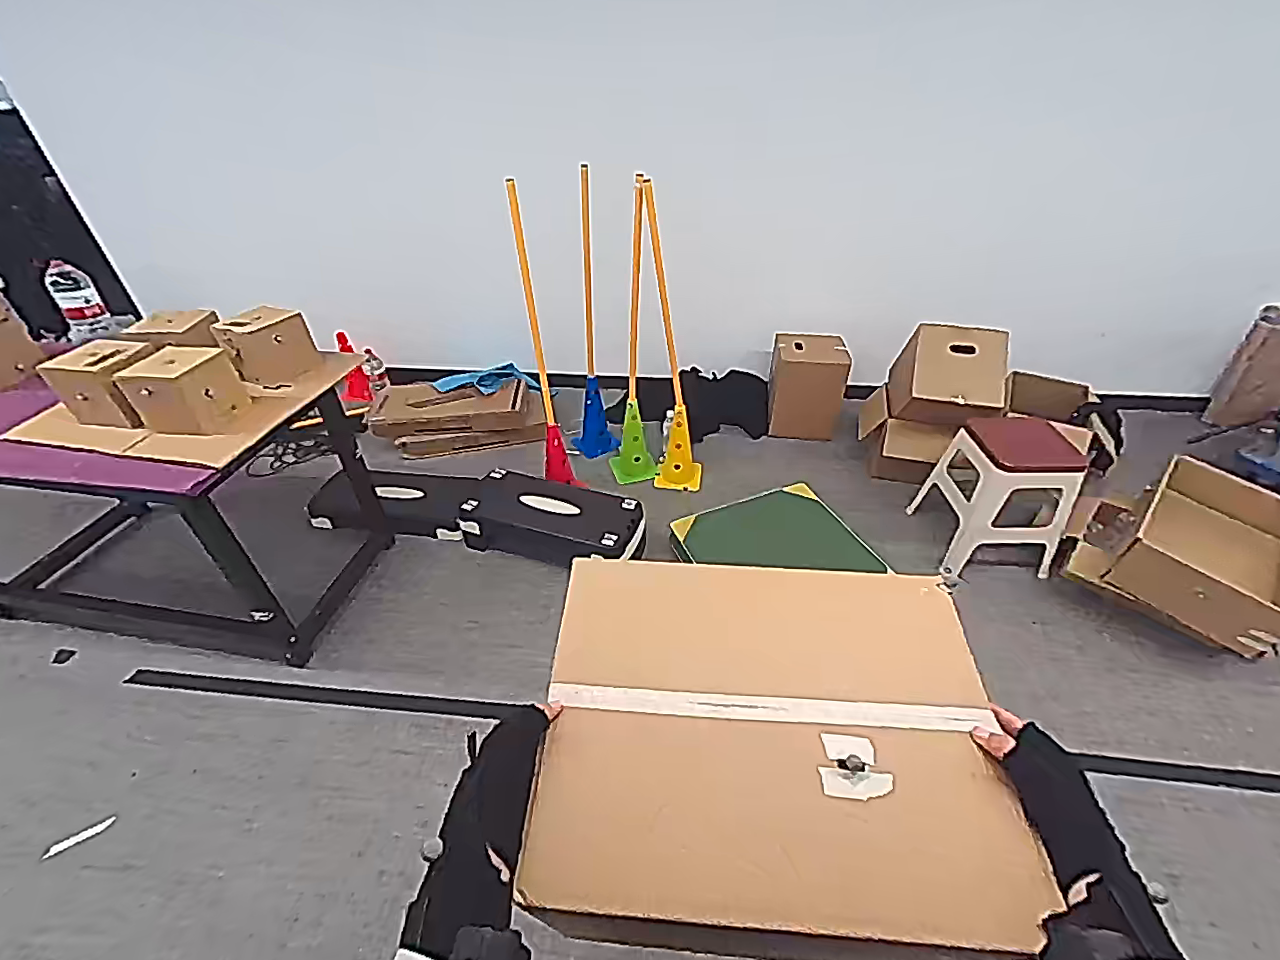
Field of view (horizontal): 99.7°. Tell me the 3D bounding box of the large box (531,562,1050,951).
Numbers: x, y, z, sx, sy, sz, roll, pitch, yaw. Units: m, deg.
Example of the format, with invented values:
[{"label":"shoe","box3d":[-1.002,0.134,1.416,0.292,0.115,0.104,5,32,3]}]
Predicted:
[{"label":"large box","box3d":[0.120,0.315,0.620,0.408,0.320,0.320,3,48,4]}]
